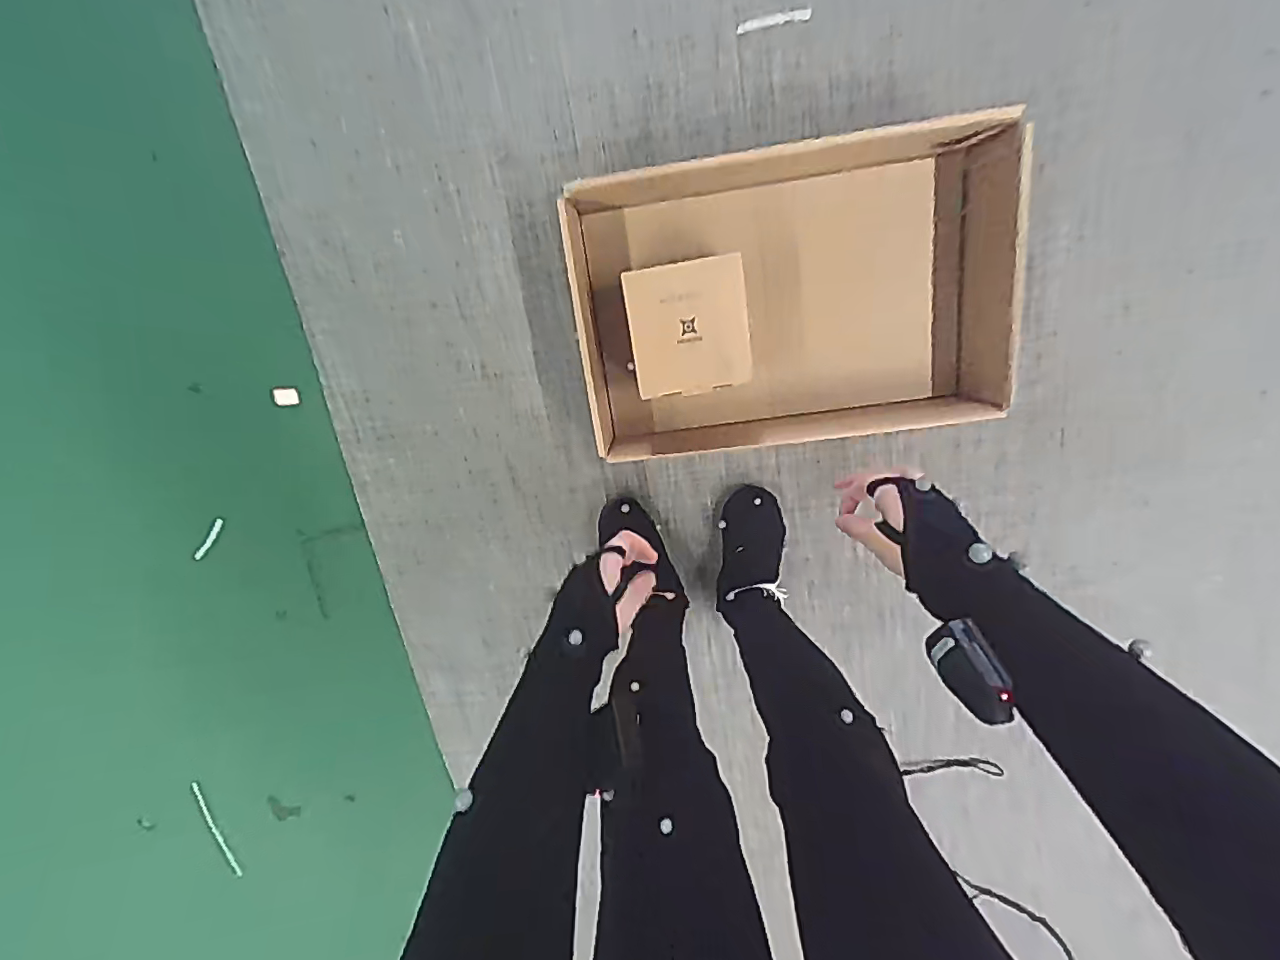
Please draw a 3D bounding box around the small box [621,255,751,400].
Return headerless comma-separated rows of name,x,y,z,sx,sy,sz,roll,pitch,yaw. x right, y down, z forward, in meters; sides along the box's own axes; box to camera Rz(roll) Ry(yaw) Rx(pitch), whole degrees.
small box,0.070,-0.231,0.821,0.168,0.176,0.179,-8,107,4
